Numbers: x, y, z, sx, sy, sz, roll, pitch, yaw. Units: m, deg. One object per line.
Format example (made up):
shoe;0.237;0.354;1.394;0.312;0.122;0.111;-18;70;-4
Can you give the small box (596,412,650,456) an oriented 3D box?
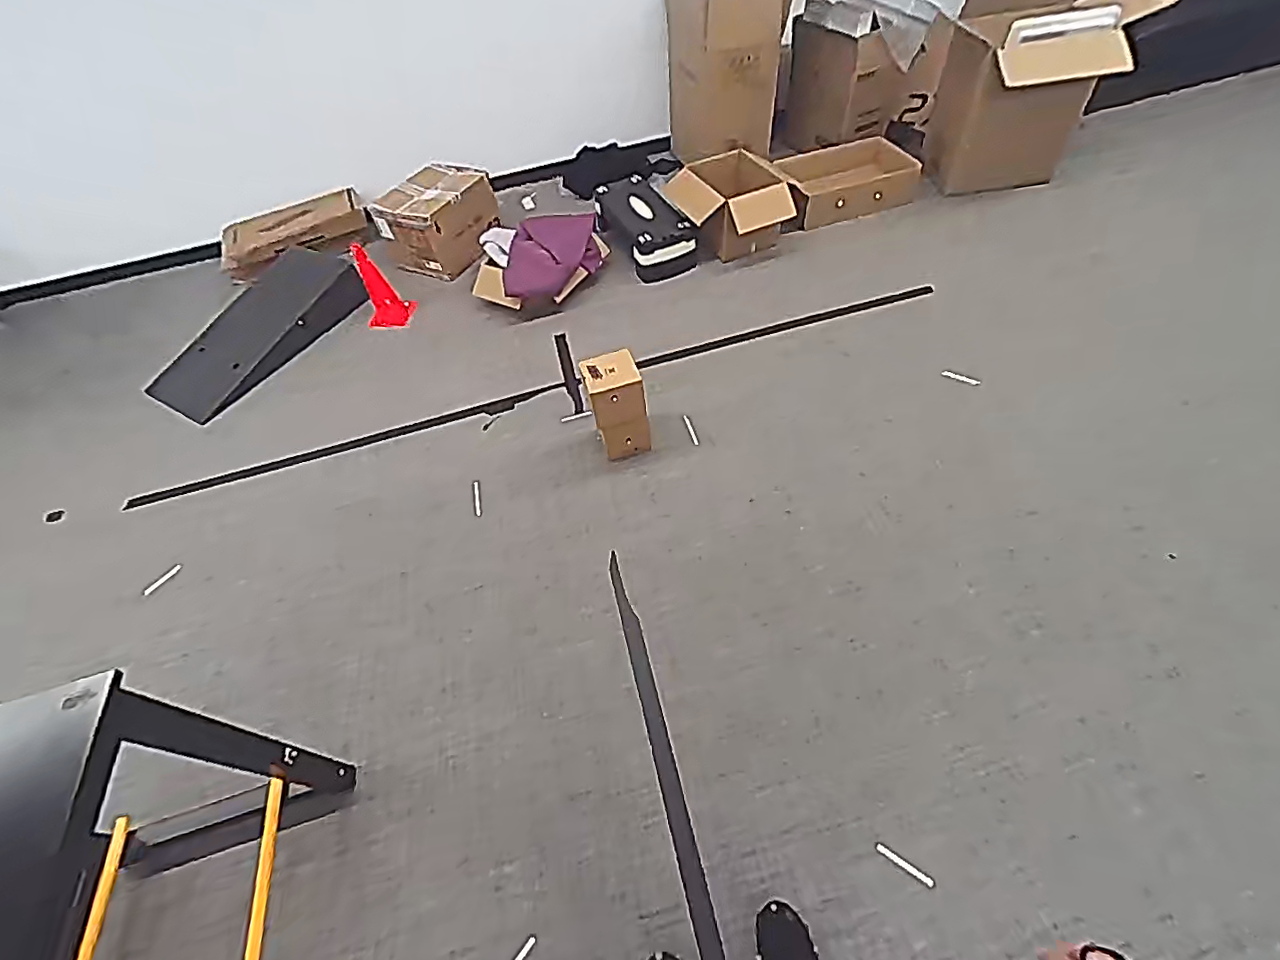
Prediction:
small box;-0.069;-0.205;1.922;0.168;0.176;0.179;-17;53;-6

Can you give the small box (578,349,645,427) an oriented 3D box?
small box;-0.092;-0.300;1.788;0.179;0.176;0.168;-17;53;-6
